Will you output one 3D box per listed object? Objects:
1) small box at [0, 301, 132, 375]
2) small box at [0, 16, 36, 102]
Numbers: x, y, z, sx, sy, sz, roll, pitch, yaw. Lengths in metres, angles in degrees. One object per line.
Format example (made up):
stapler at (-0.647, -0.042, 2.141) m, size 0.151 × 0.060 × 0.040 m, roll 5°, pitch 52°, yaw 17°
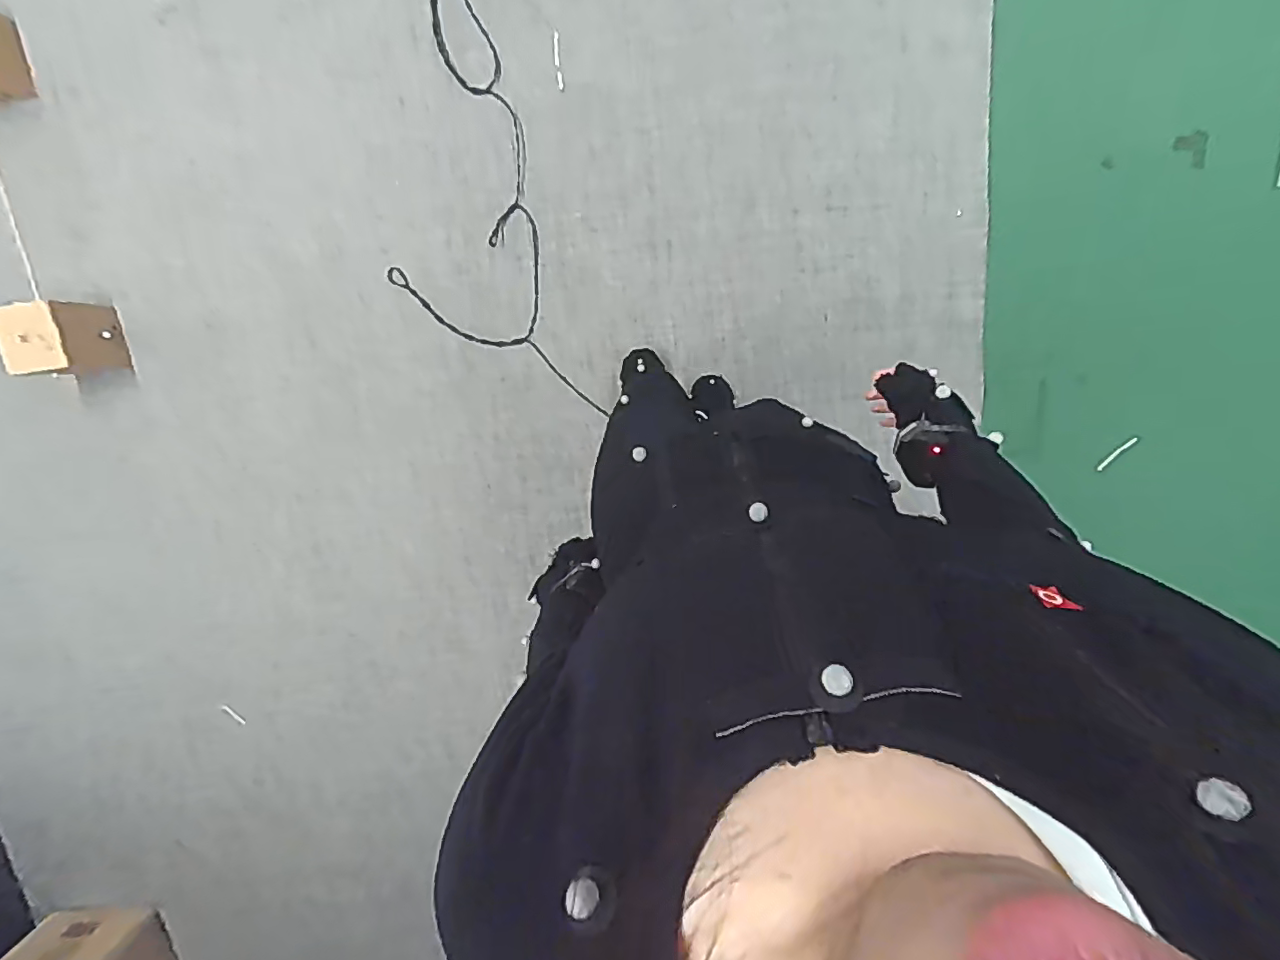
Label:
small box at (-1.516, -0.368, 1.424) m, size 0.179 × 0.176 × 0.168 m, roll -6°, pitch 103°, yaw 5°
small box at (-1.617, -1.030, 1.277) m, size 0.168 × 0.176 × 0.179 m, roll -6°, pitch 103°, yaw 5°
